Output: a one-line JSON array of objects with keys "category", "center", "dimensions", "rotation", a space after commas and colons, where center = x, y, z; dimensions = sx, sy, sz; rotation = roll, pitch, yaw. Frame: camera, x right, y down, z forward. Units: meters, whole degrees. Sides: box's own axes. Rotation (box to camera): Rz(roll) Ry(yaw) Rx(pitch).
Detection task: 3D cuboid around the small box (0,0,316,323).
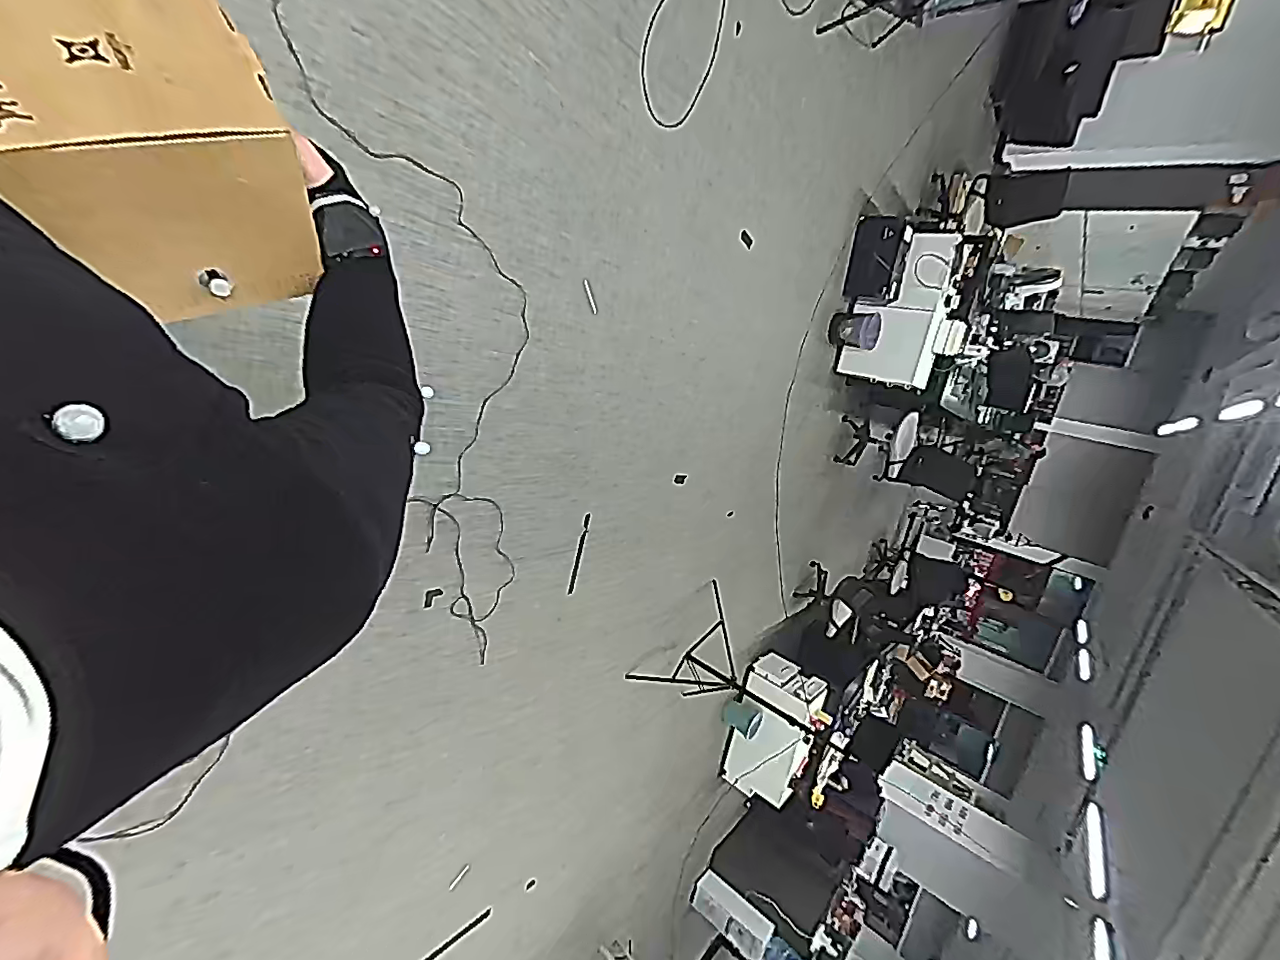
[{"category": "small box", "center": [-0.397, -0.261, 0.453], "dimensions": [0.179, 0.168, 0.176], "rotation": [-26, 168, -30]}]
